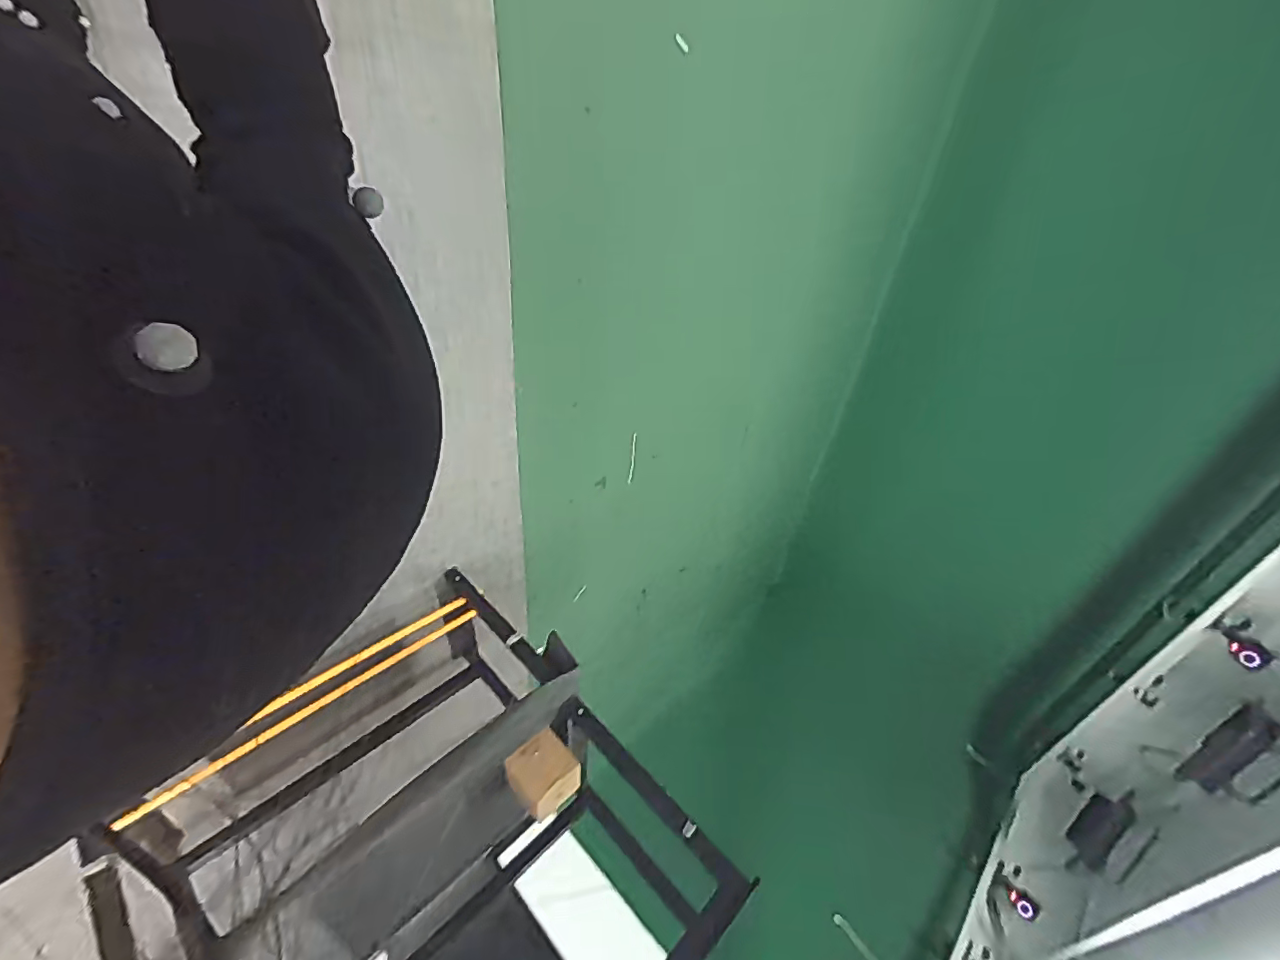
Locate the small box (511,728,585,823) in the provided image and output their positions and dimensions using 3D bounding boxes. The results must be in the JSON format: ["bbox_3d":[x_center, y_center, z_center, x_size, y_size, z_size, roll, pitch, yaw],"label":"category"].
[{"bbox_3d":[-0.290,0.929,1.713,0.168,0.176,0.179,-31,140,-35],"label":"small box"}]
